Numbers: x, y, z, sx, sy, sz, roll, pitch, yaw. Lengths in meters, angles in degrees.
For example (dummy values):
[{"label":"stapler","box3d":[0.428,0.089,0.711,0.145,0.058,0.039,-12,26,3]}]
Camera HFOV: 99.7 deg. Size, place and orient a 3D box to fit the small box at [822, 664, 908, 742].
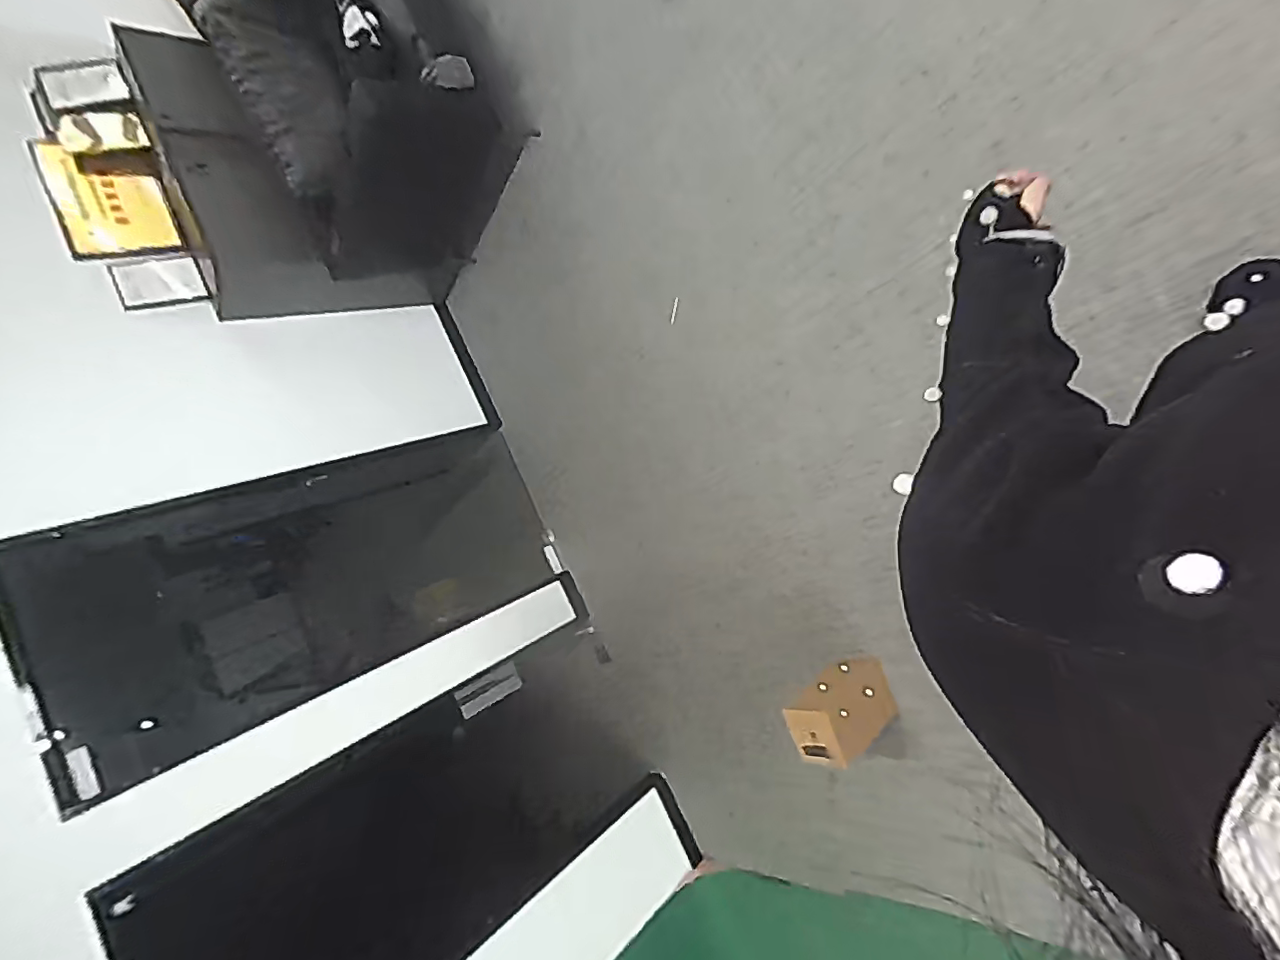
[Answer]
[{"label":"small box","box3d":[0.727,0.711,1.744,0.168,0.176,0.179,-24,88,51]}]
